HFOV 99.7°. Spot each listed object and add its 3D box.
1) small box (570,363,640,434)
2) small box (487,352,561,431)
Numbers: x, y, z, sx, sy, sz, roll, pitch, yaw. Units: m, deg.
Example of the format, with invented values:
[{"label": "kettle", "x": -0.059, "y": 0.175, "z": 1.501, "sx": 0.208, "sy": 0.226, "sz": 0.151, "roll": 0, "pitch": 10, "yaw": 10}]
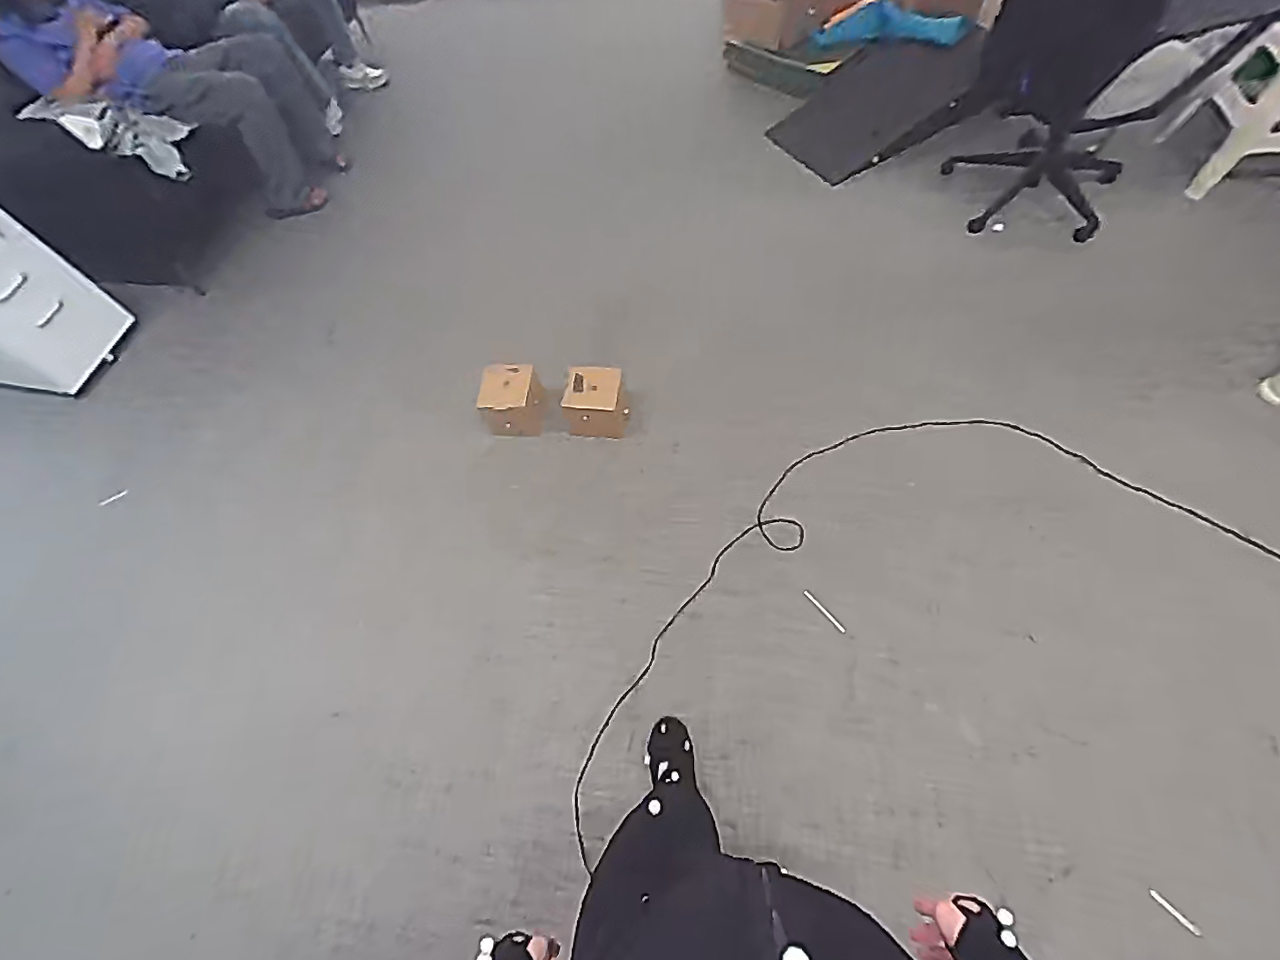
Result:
[{"label": "small box", "x": -0.111, "y": -0.266, "z": 1.795, "sx": 0.179, "sy": 0.176, "sz": 0.168, "roll": 8, "pitch": 65, "yaw": 13}, {"label": "small box", "x": -0.393, "y": -0.296, "z": 1.844, "sx": 0.179, "sy": 0.176, "sz": 0.168, "roll": -26, "pitch": 60, "yaw": -5}]
